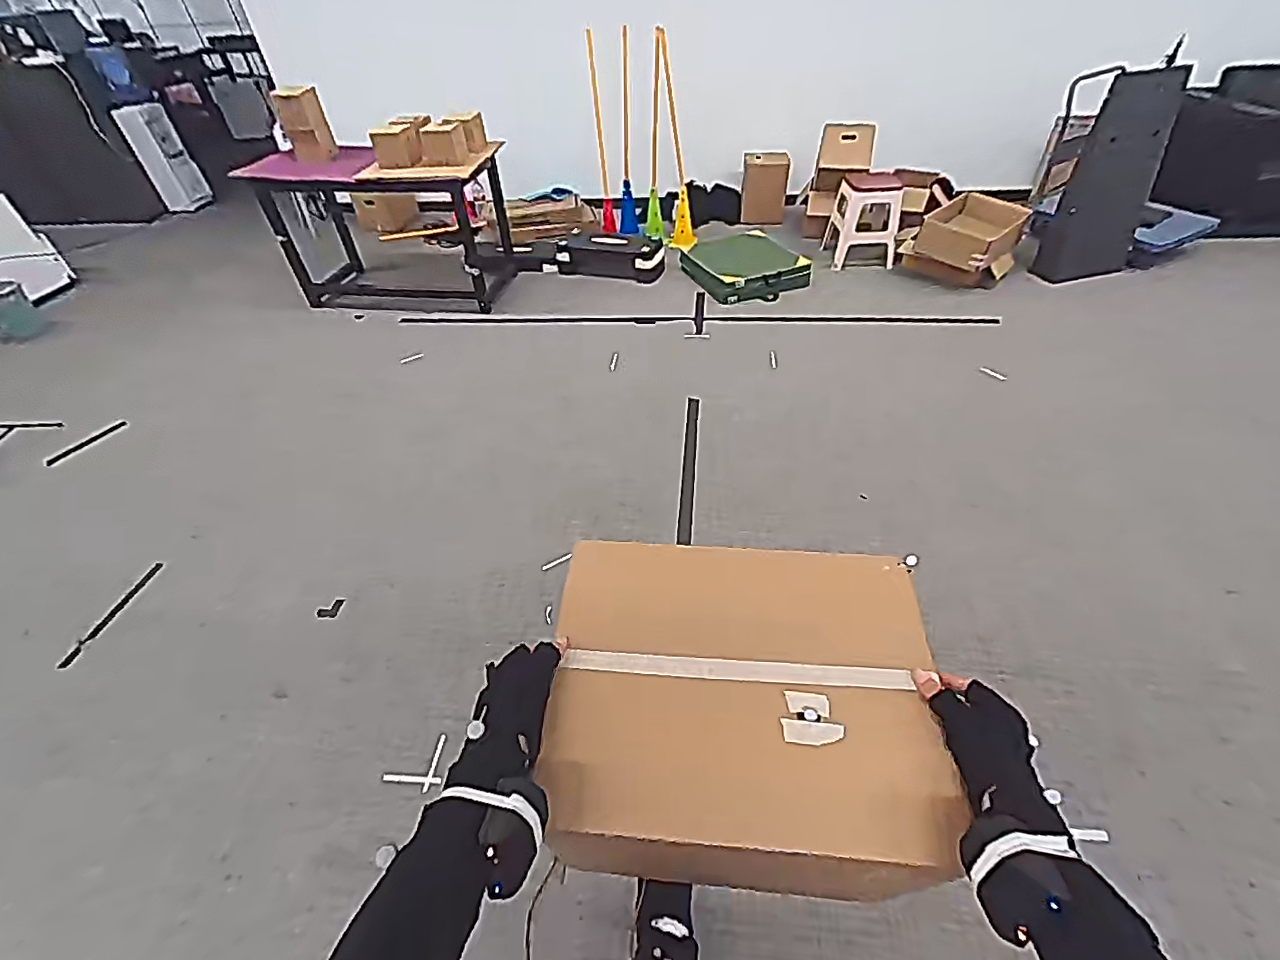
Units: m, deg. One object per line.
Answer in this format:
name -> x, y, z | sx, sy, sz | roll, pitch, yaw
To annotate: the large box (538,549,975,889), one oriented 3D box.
large box -> 0.114, 0.308, 0.697 | 0.408, 0.320, 0.320 | 2, 49, 5
